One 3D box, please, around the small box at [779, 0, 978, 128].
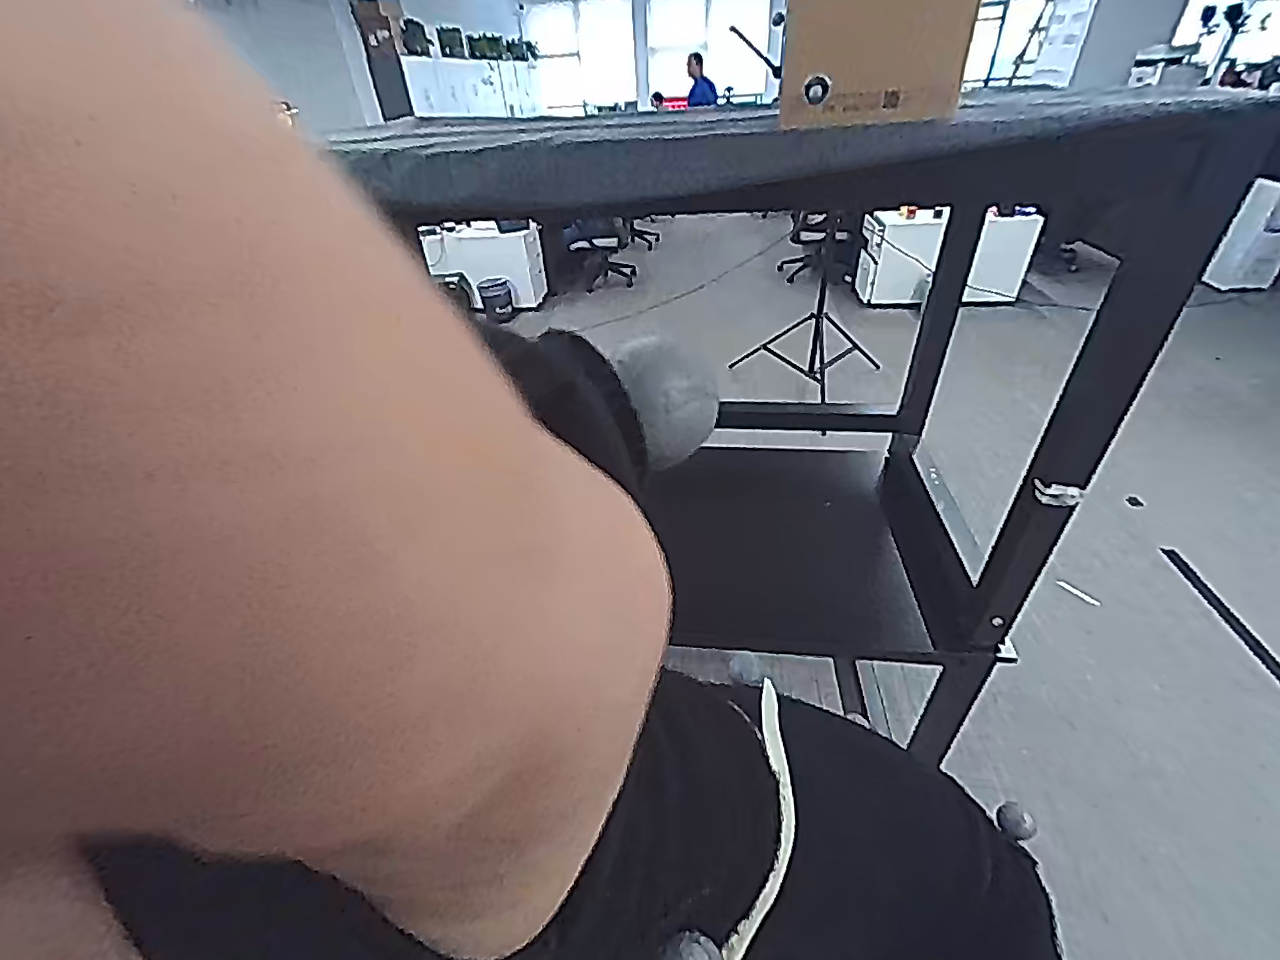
[{"bbox_3d":[0.235,-0.466,0.551,0.168,0.176,0.179,4,35,12],"label":"small box"}]
